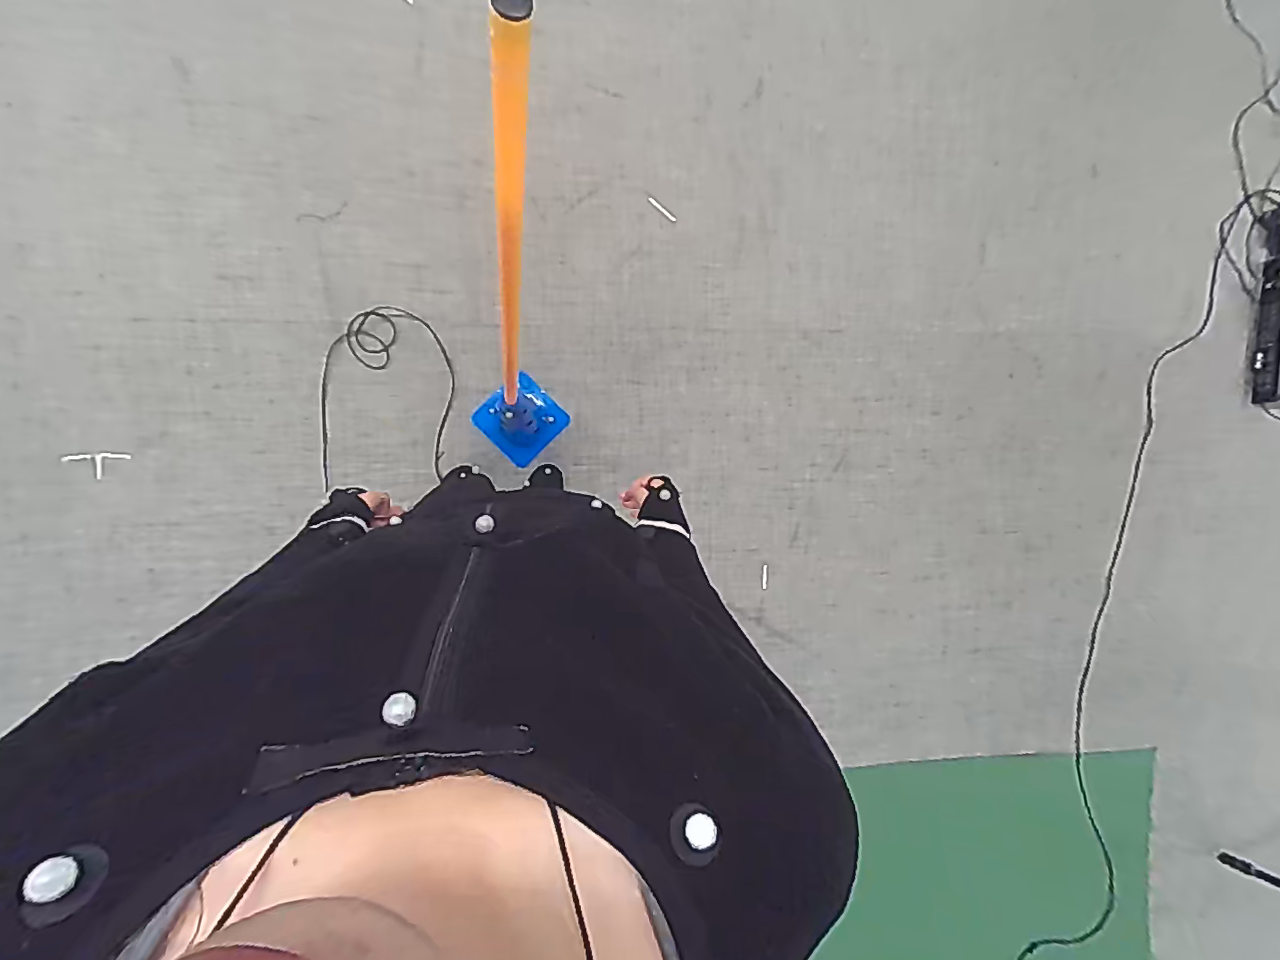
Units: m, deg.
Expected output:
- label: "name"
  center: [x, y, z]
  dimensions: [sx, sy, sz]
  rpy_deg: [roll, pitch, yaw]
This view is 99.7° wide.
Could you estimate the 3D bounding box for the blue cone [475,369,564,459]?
- label: "blue cone"
  center: [-0.292, -0.181, 1.281]
  dimensions: [0.192, 0.380, 0.193]
  rpy_deg: [44, 83, -7]
